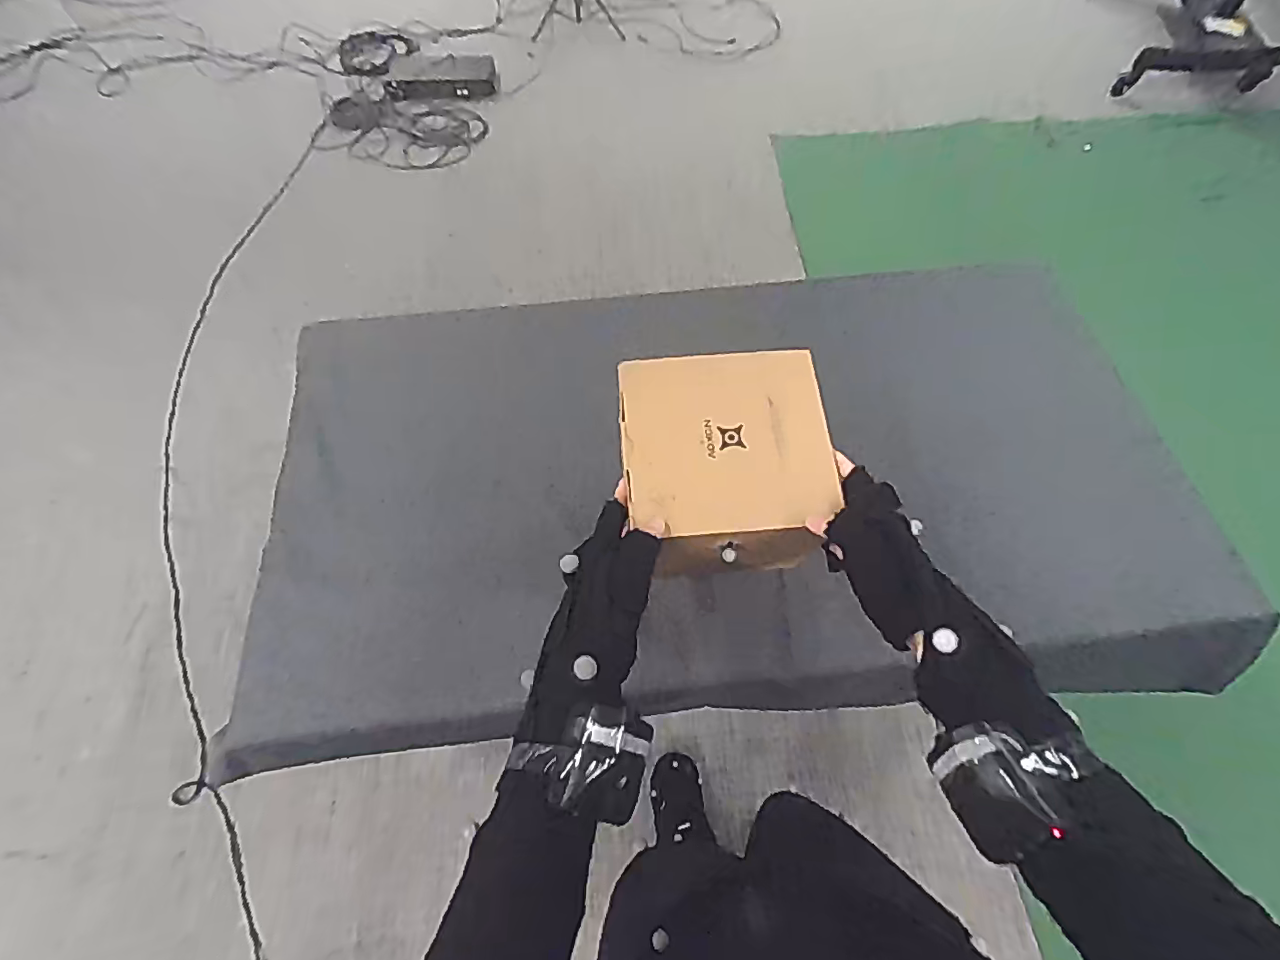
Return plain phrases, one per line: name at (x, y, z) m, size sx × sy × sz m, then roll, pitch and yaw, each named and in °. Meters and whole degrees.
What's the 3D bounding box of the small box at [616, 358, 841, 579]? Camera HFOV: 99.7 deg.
small box at (0.070, -0.002, 0.538) m, size 0.179 × 0.176 × 0.168 m, roll -4°, pitch 70°, yaw -4°
